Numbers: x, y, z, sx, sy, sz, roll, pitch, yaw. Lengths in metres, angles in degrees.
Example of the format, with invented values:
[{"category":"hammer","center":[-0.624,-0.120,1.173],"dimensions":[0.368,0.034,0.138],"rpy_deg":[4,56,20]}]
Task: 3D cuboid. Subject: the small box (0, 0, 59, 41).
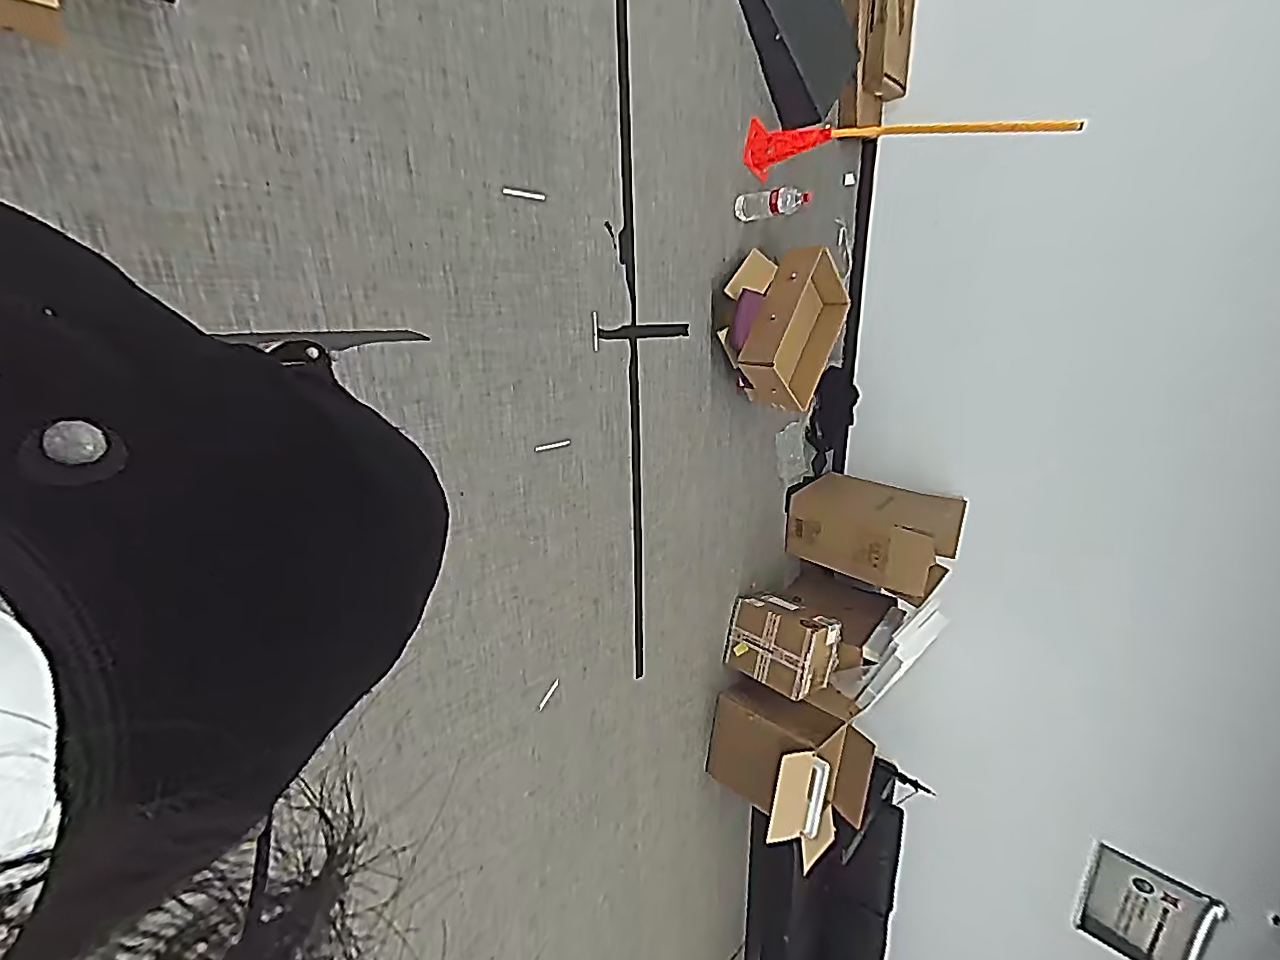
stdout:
[{"category":"small box","center":[-1.024,-0.818,0.817],"dimensions":[0.168,0.176,0.179],"rpy_deg":[-18,114,-42]}]
